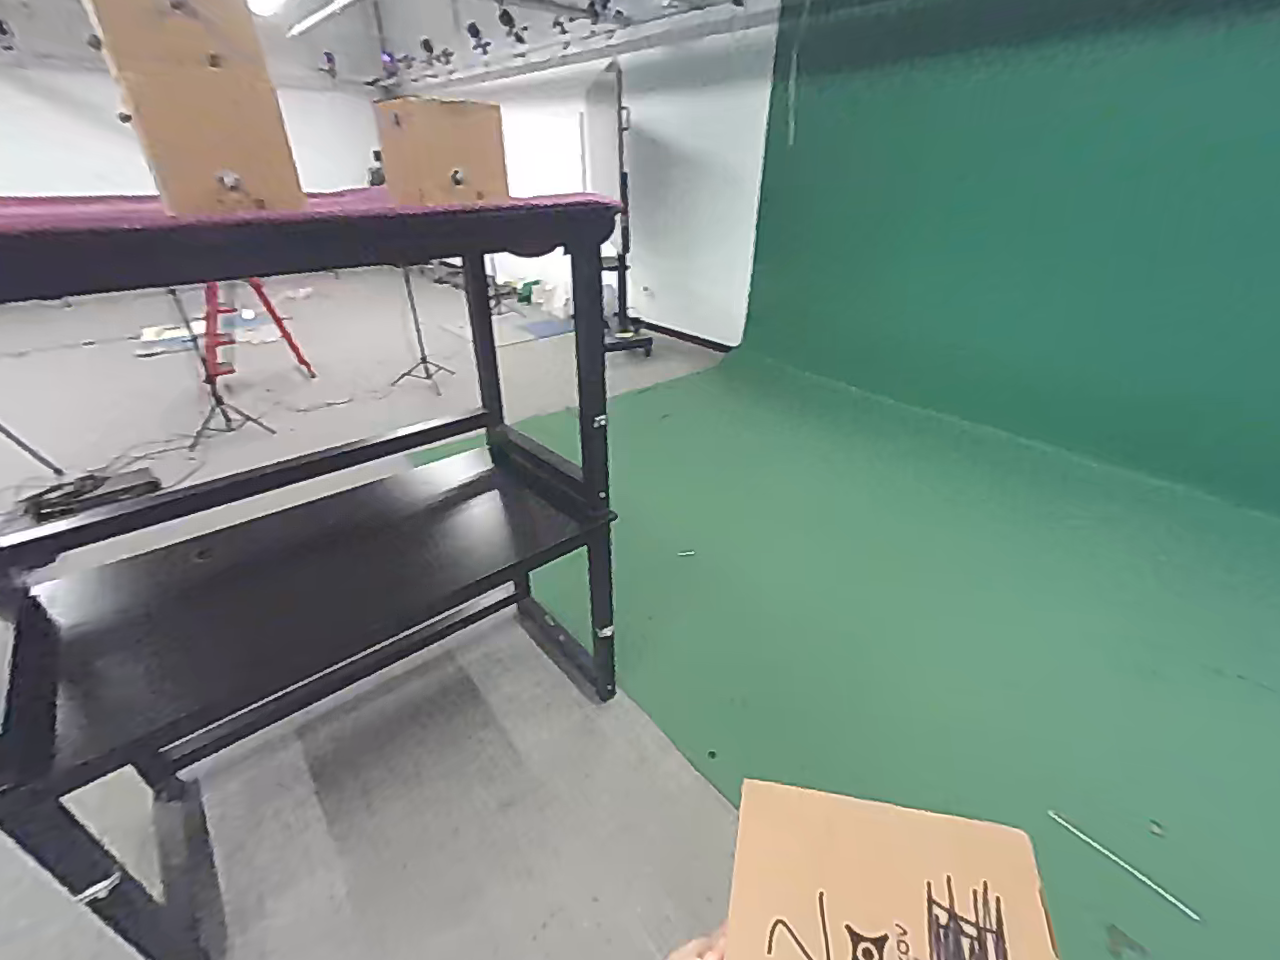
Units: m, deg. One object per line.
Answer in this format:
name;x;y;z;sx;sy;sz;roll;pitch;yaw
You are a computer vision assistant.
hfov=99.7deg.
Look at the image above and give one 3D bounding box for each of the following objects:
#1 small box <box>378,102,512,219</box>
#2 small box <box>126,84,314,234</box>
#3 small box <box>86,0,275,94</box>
small box;-0.349;-0.572;0.977;0.168;0.176;0.179;-23;39;-32
small box;-0.603;-0.458;0.785;0.168;0.176;0.179;-23;39;-33
small box;-0.609;-0.603;0.708;0.168;0.176;0.179;-23;39;-33
